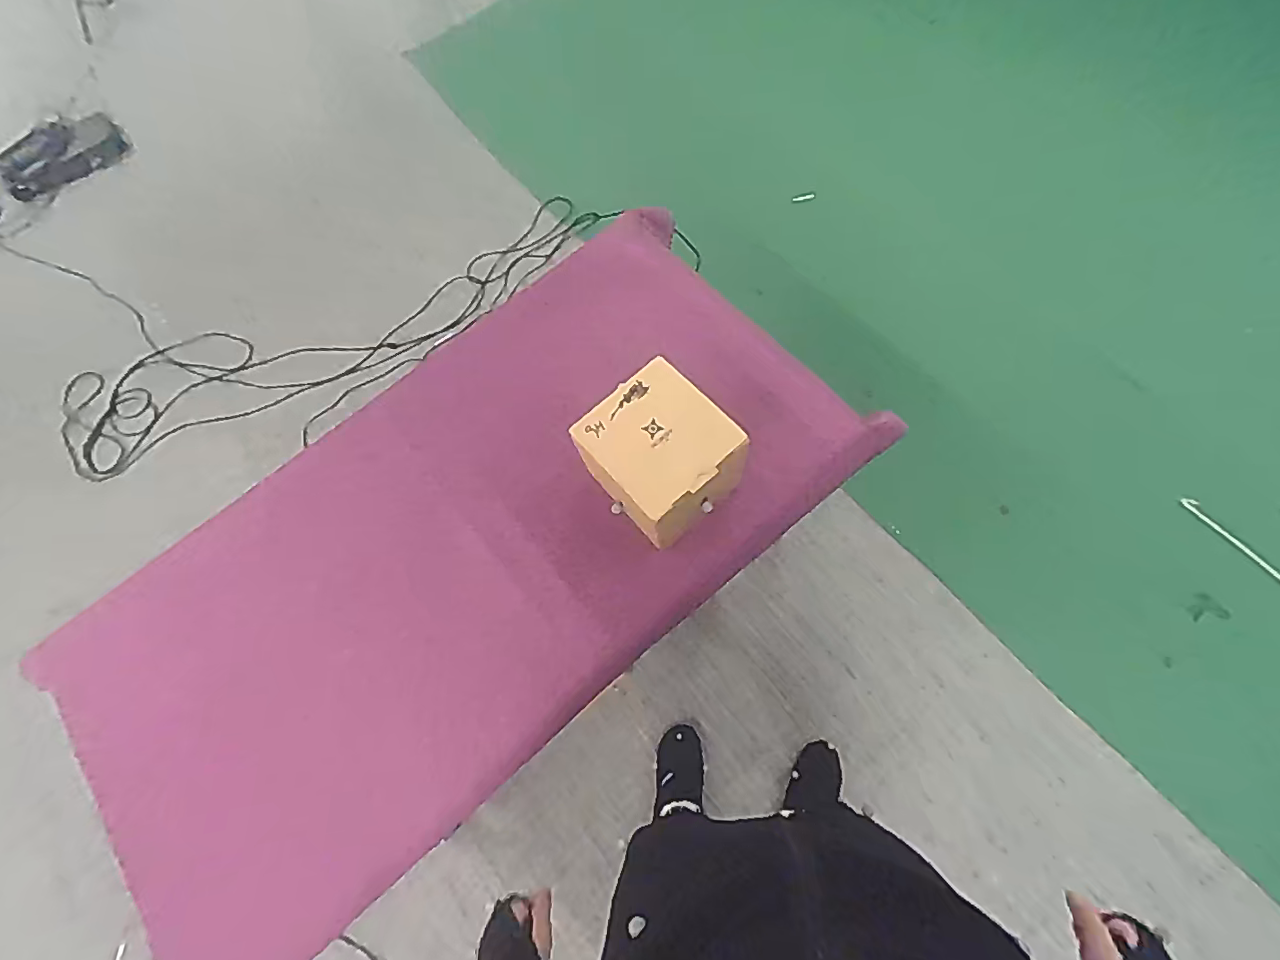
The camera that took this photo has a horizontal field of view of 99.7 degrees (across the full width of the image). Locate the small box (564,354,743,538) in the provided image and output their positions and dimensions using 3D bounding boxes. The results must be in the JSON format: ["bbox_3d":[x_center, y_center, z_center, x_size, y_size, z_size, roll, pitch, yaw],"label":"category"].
[{"bbox_3d":[0.024,-0.035,0.767,0.168,0.176,0.179,-40,71,-8],"label":"small box"}]

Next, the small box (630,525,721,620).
[{"bbox_3d":[0.098,0.251,1.432,0.179,0.176,0.168,-42,72,-9],"label":"small box"}]

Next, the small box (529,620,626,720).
[{"bbox_3d":[-0.150,0.481,1.377,0.179,0.176,0.168,-39,71,-7],"label":"small box"}]
